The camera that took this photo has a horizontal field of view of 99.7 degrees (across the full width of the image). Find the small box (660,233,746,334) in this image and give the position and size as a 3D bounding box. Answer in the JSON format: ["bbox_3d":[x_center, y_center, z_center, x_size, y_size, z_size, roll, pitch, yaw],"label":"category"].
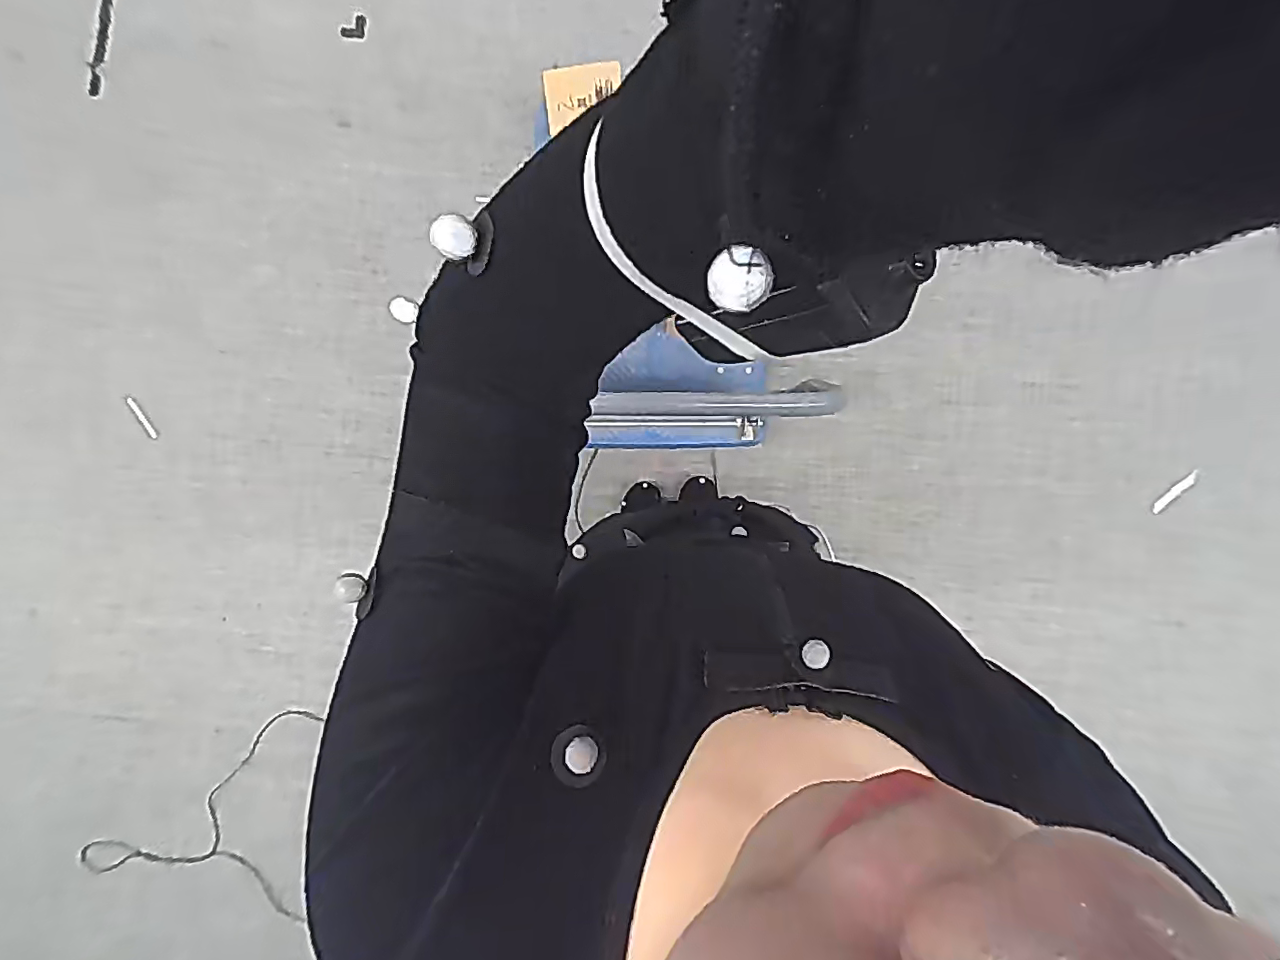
[{"bbox_3d":[0.140,-0.448,1.259,0.179,0.176,0.168,-6,89,1],"label":"small box"}]
